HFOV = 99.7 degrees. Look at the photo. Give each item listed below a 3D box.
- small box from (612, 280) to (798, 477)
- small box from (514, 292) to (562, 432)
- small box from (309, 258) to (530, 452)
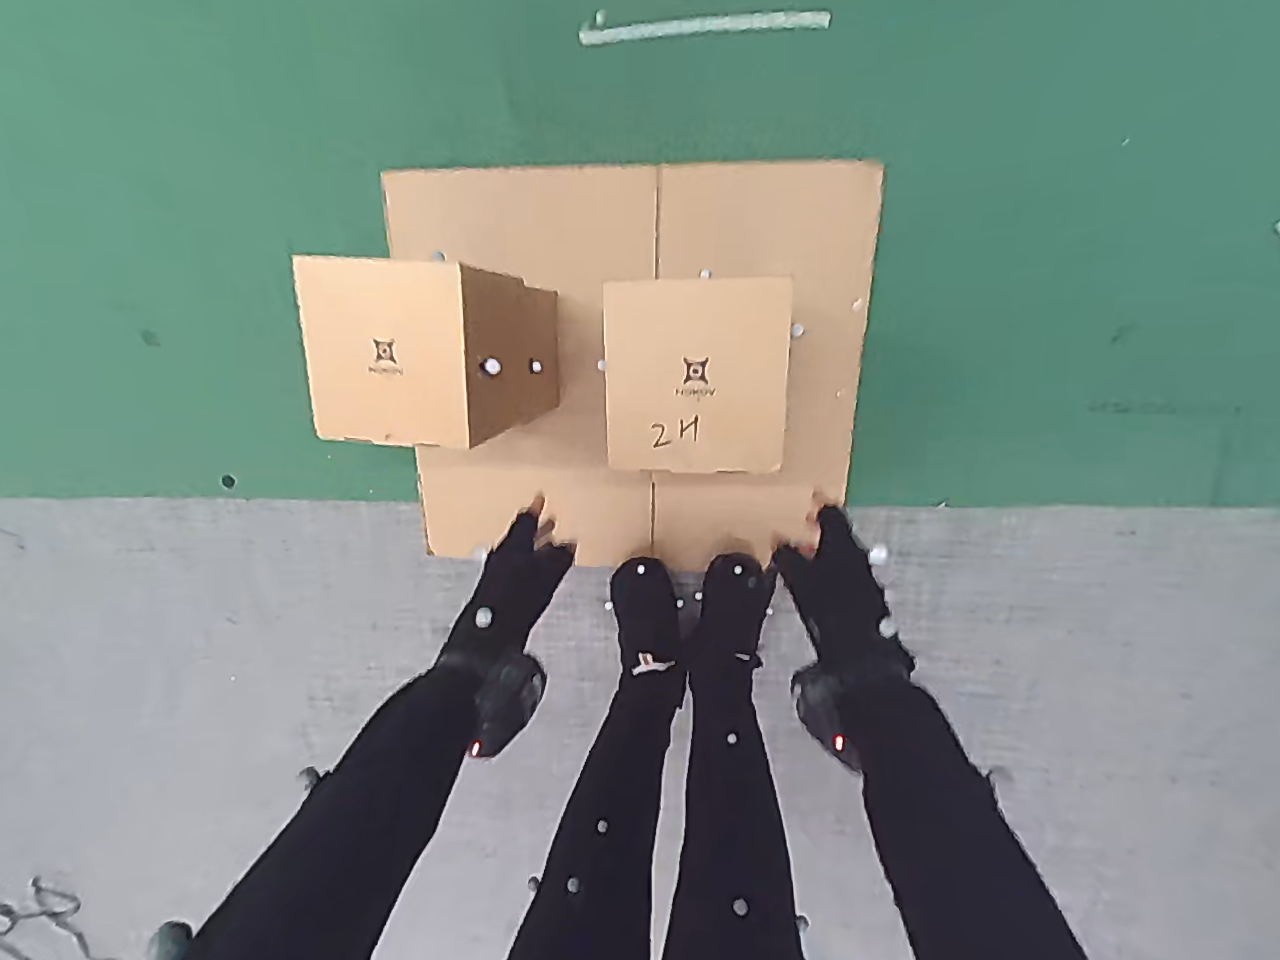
[{"bbox_3d":[0.064,-0.110,0.568,0.168,0.176,0.179,2,106,8],"label":"small box"},{"bbox_3d":[-0.210,-0.173,0.758,0.168,0.176,0.179,4,106,7],"label":"small box"},{"bbox_3d":[-0.227,-0.139,0.600,0.168,0.176,0.179,5,107,6],"label":"small box"}]
